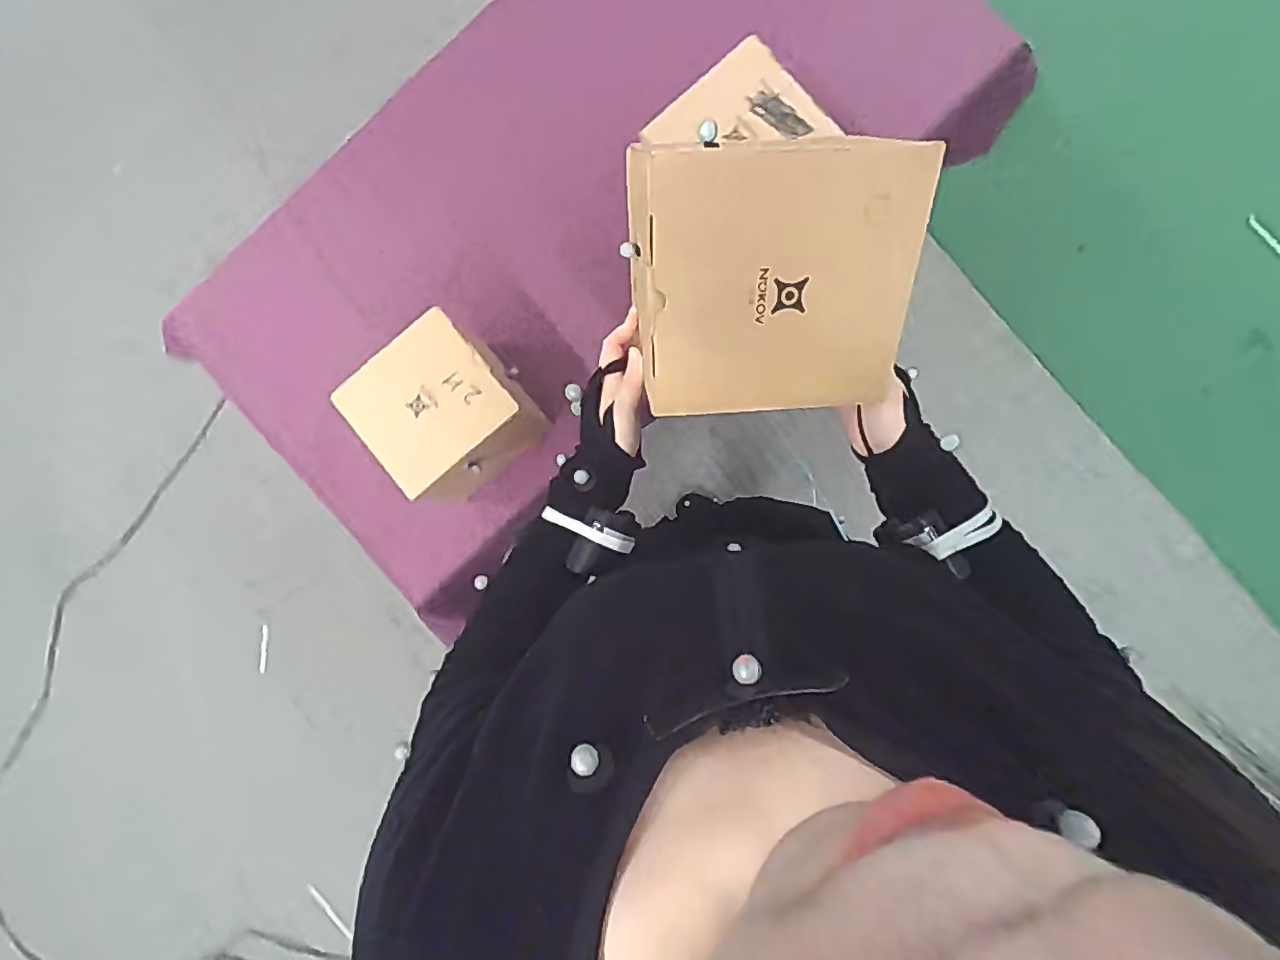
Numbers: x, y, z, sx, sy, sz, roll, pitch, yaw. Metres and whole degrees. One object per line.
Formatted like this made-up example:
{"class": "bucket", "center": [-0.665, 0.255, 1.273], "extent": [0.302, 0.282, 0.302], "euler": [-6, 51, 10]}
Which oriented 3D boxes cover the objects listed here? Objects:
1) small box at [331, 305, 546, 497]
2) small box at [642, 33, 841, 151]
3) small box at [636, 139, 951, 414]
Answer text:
{"class": "small box", "center": [-0.252, -0.092, 0.722], "extent": [0.179, 0.176, 0.168], "euler": [-40, 87, 2]}
{"class": "small box", "center": [0.121, -0.402, 0.705], "extent": [0.179, 0.176, 0.168], "euler": [-40, 86, 3]}
{"class": "small box", "center": [0.089, -0.163, 0.416], "extent": [0.179, 0.176, 0.168], "euler": [-2, 123, -2]}
